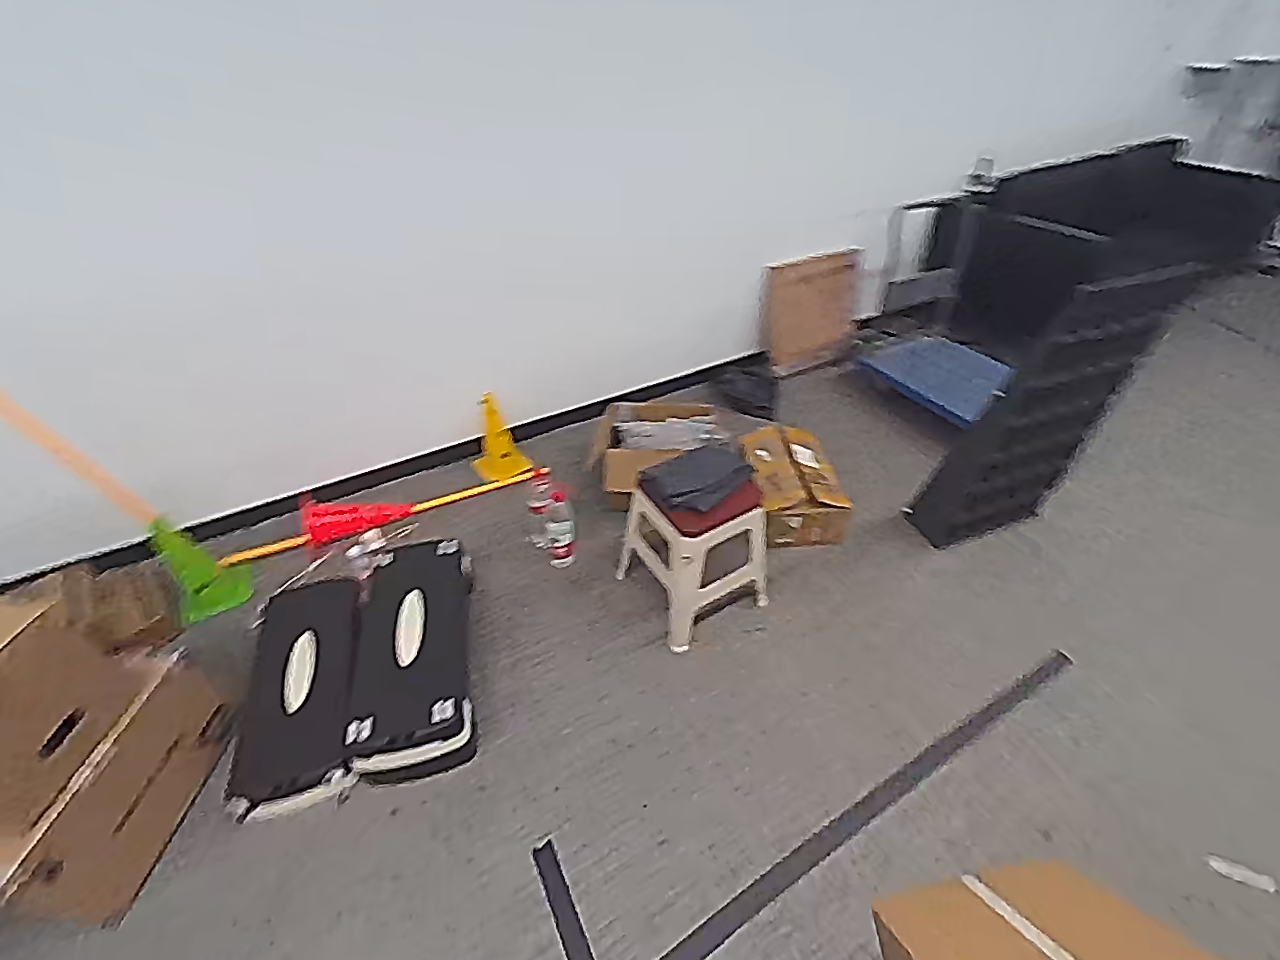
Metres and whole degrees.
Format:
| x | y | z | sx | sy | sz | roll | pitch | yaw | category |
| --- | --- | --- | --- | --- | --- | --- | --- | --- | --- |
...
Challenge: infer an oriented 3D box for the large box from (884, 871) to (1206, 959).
| x | y | z | sx | sy | sz | roll | pitch | yaw | category |
| --- | --- | --- | --- | --- | --- | --- | --- | --- | --- |
| 0.547 | 0.738 | 0.612 | 0.320 | 0.408 | 0.320 | -9 | 80 | -3 | large box |
